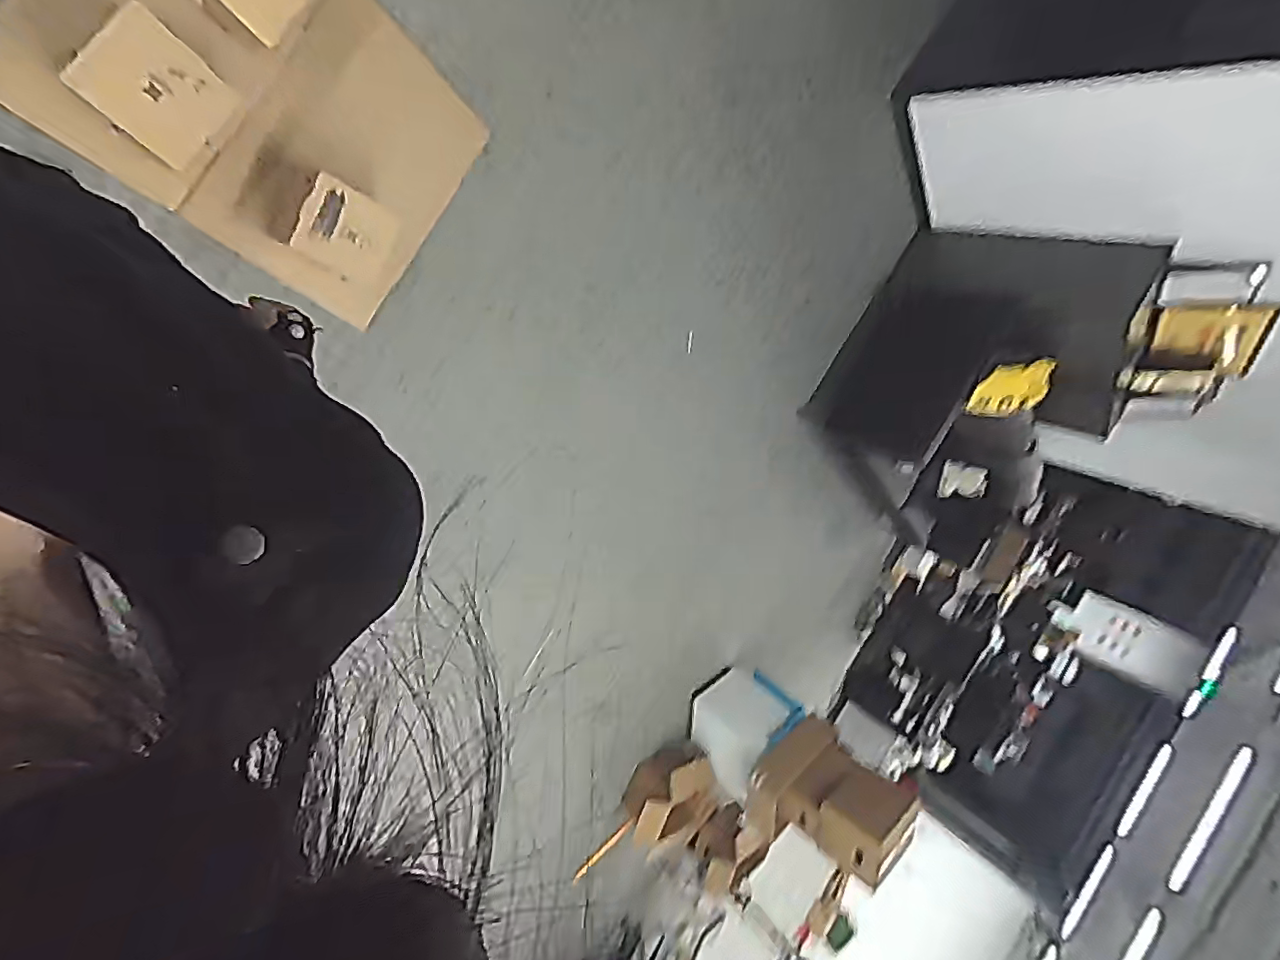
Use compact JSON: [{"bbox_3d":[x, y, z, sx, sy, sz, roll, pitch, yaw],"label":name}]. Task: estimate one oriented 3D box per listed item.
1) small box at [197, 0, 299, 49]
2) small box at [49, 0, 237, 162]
[{"bbox_3d":[-0.697,-0.897,0.938,0.179,0.176,0.168,-57,140,-4],"label":"small box"},{"bbox_3d":[-0.839,-0.674,0.921,0.179,0.176,0.168,-54,140,-7],"label":"small box"}]
